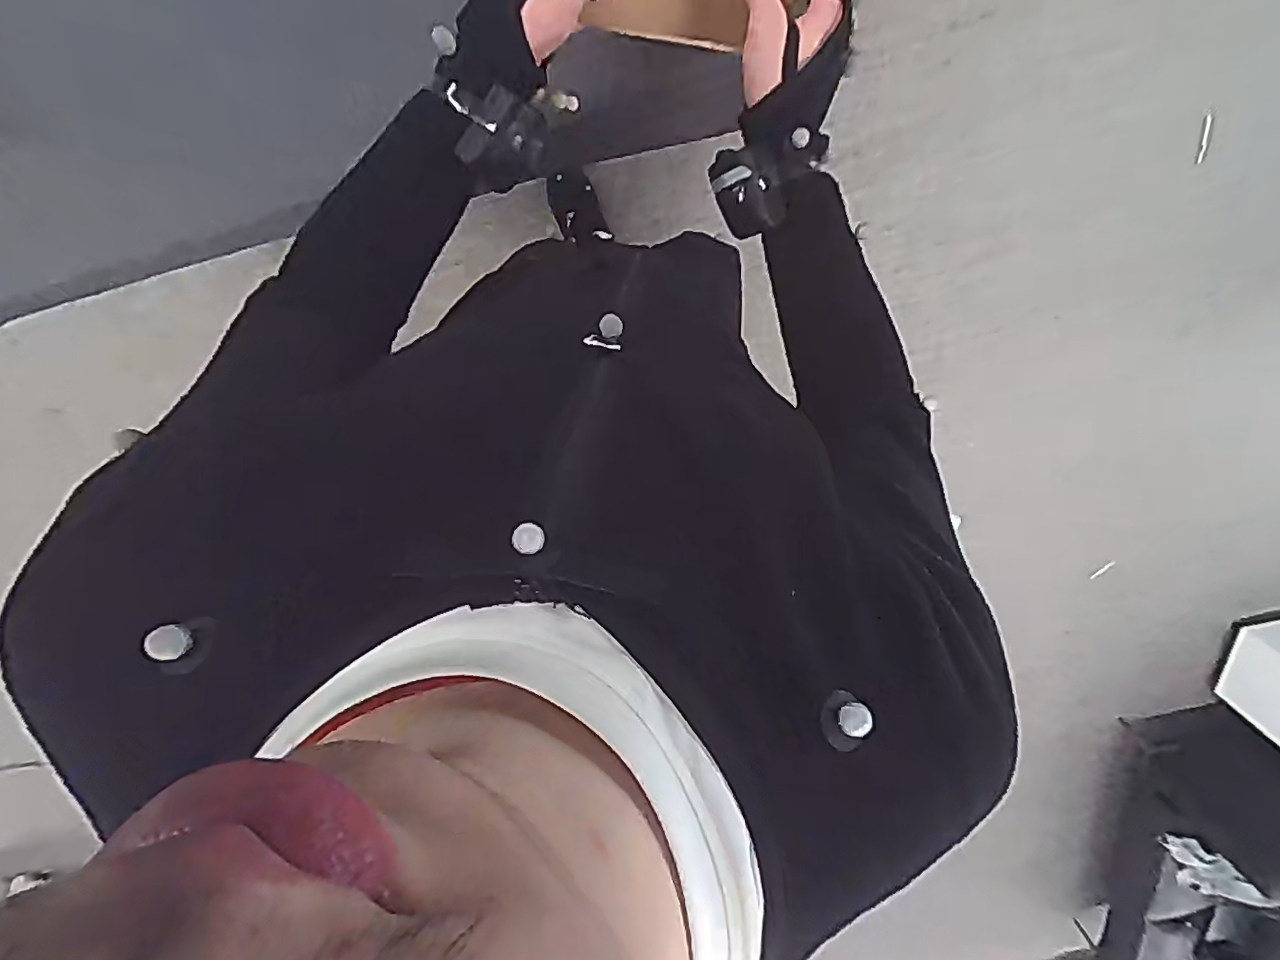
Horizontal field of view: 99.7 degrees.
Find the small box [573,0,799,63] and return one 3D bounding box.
[{"bbox_3d":[0.044,-0.466,0.413,0.179,0.176,0.168,5,152,-6],"label":"small box"}]
